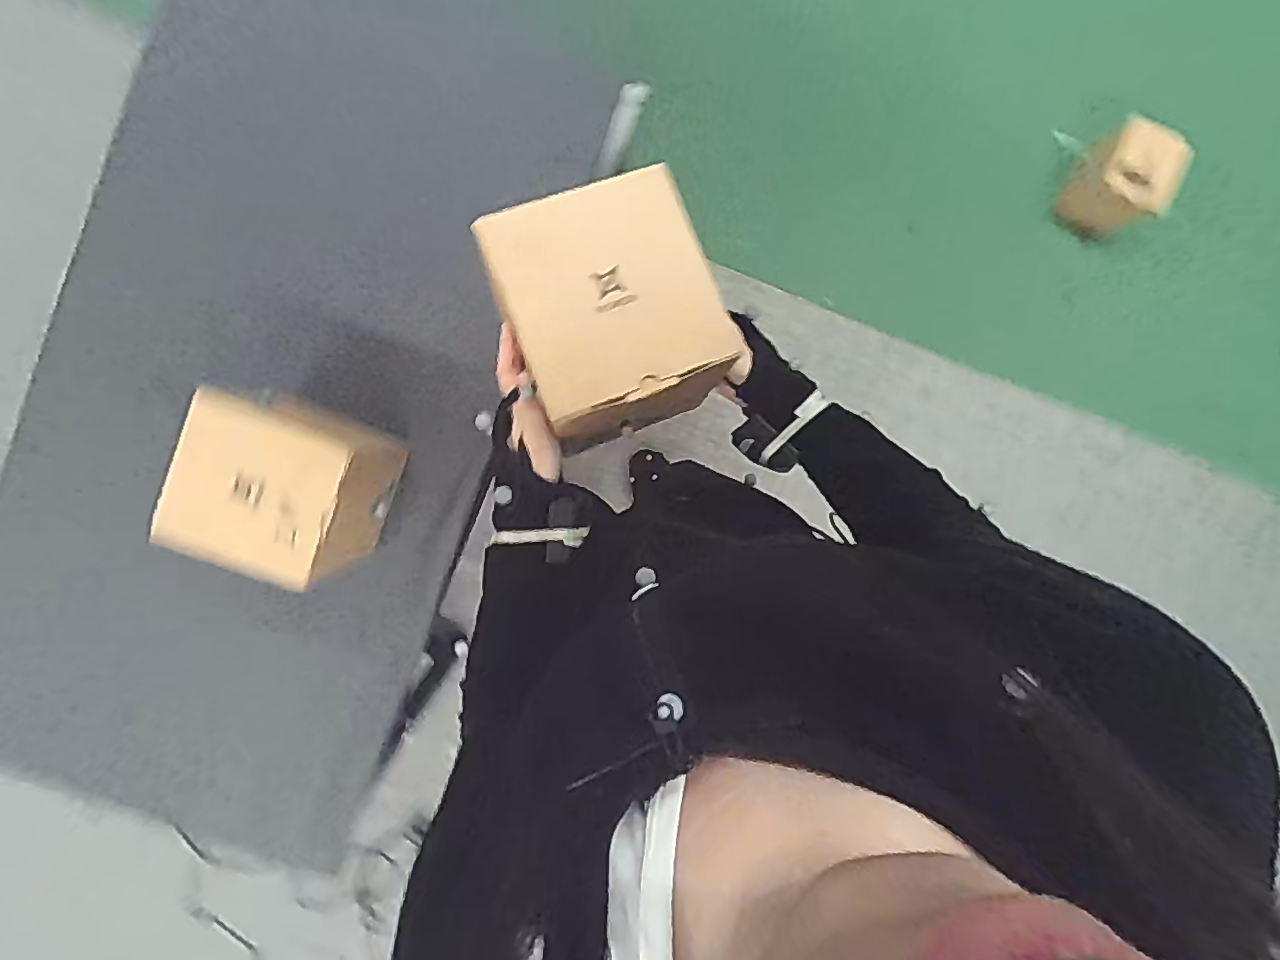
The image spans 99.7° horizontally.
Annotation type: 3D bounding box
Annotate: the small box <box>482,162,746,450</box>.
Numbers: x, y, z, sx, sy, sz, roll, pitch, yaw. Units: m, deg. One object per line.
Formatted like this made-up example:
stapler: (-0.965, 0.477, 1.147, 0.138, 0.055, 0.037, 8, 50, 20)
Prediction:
small box: (-0.030, -0.146, 0.506, 0.168, 0.176, 0.179, -22, 86, -8)

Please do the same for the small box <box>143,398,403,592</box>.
small box: (-0.425, 0.012, 0.656, 0.179, 0.176, 0.168, 20, 94, -3)
